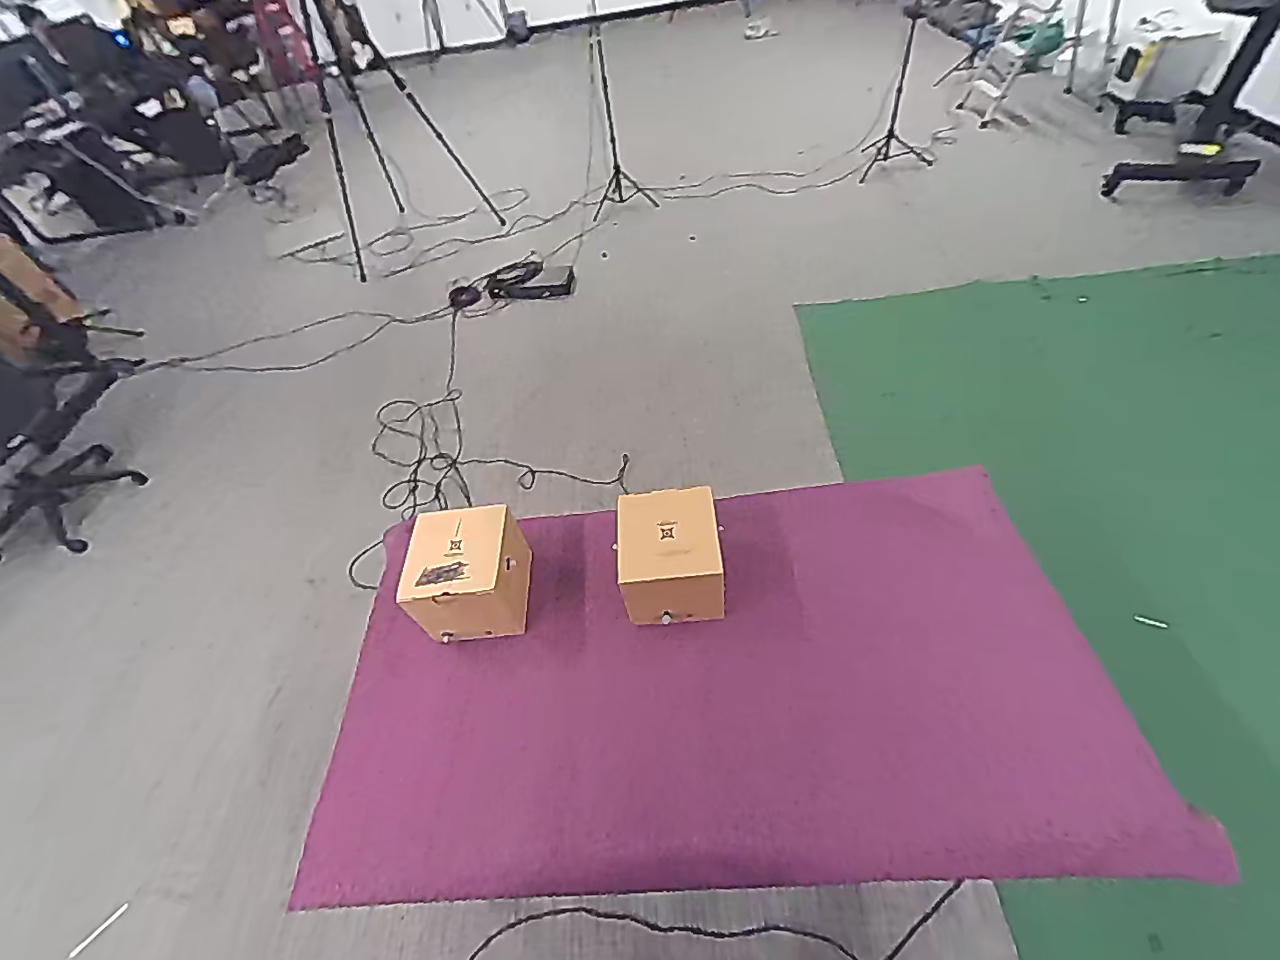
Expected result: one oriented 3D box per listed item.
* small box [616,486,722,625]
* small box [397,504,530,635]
[{"bbox_3d":[0.052,0.134,0.947,0.168,0.176,0.179,-6,50,5],"label":"small box"},{"bbox_3d":[-0.303,0.168,0.973,0.168,0.176,0.179,-6,49,3],"label":"small box"}]
